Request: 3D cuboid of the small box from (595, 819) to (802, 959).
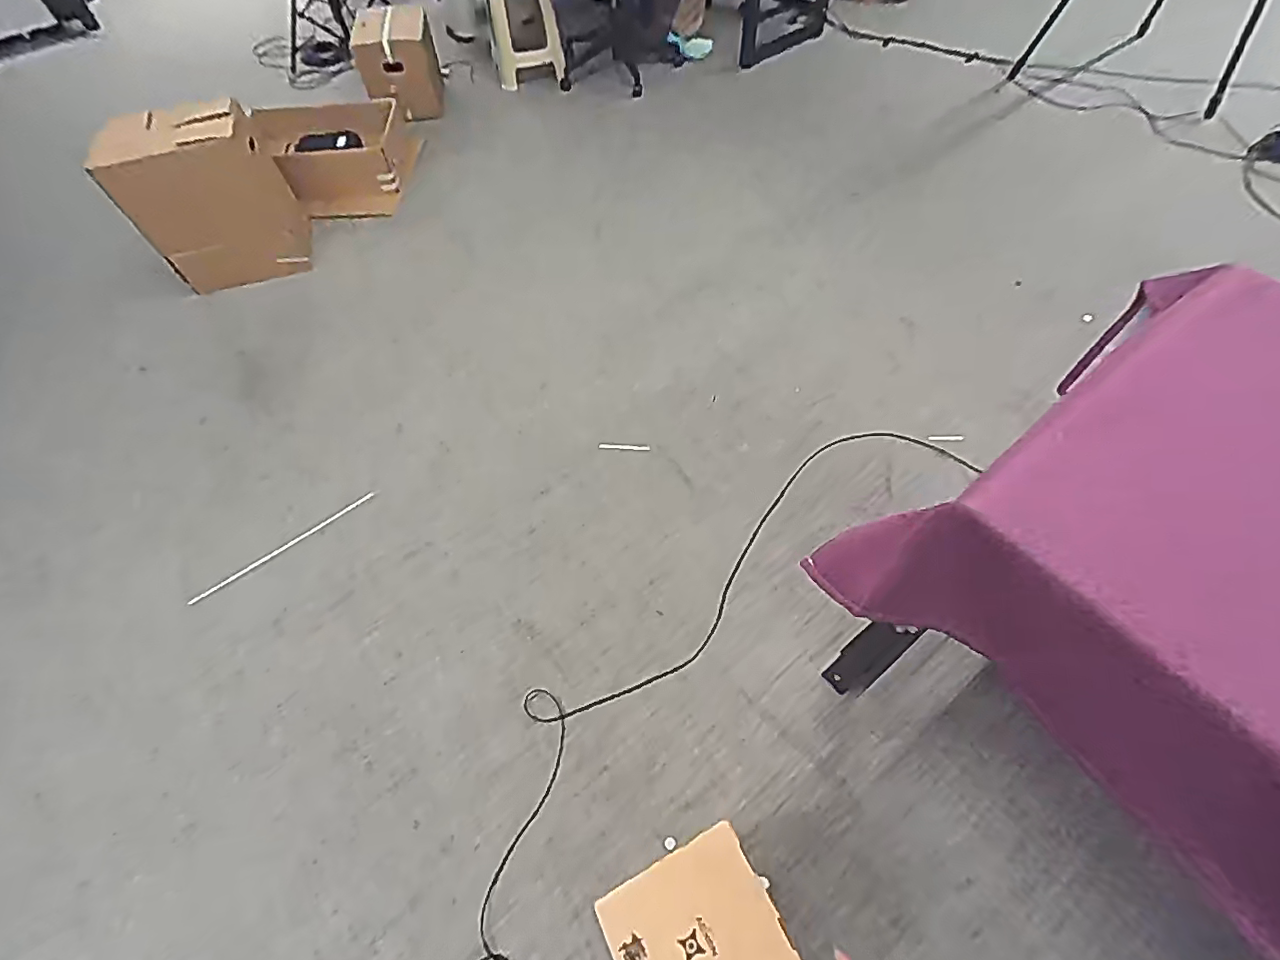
[{"bbox_3d":[0.063,0.529,0.638,0.179,0.176,0.168,-24,59,-13],"label":"small box"}]
